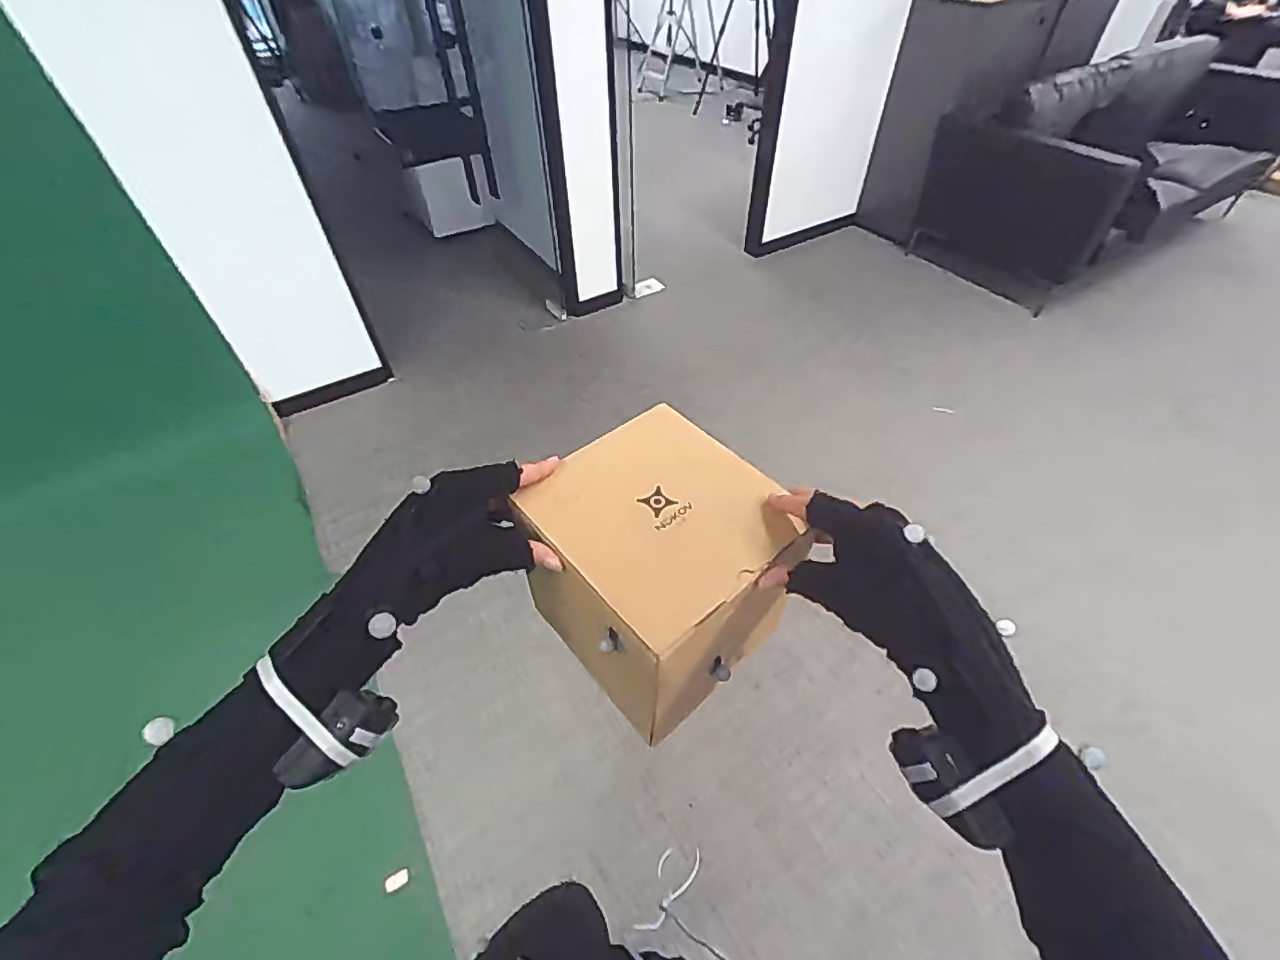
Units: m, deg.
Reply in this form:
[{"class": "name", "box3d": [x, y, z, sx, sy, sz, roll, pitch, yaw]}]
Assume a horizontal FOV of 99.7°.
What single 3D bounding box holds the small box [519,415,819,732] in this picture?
[{"class": "small box", "box3d": [0.018, 0.079, 0.472, 0.168, 0.176, 0.179, -32, 56, -27]}]
